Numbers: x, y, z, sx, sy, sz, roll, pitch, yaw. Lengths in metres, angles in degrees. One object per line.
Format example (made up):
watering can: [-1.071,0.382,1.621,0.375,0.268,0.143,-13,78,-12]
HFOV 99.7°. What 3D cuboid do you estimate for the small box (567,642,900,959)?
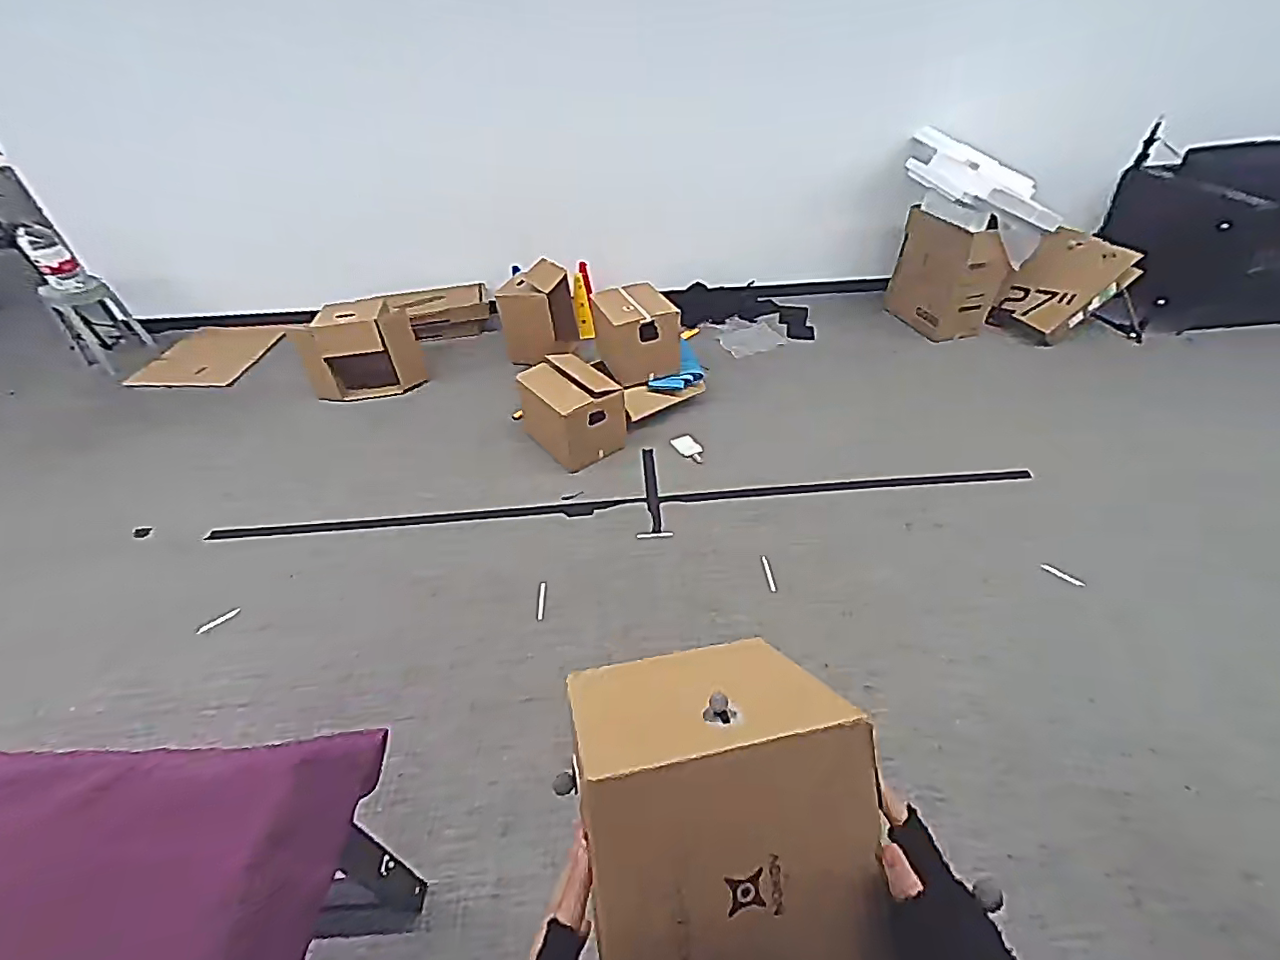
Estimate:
small box: [0.048,0.228,0.384,0.179,0.168,0.176,-7,0,-10]
